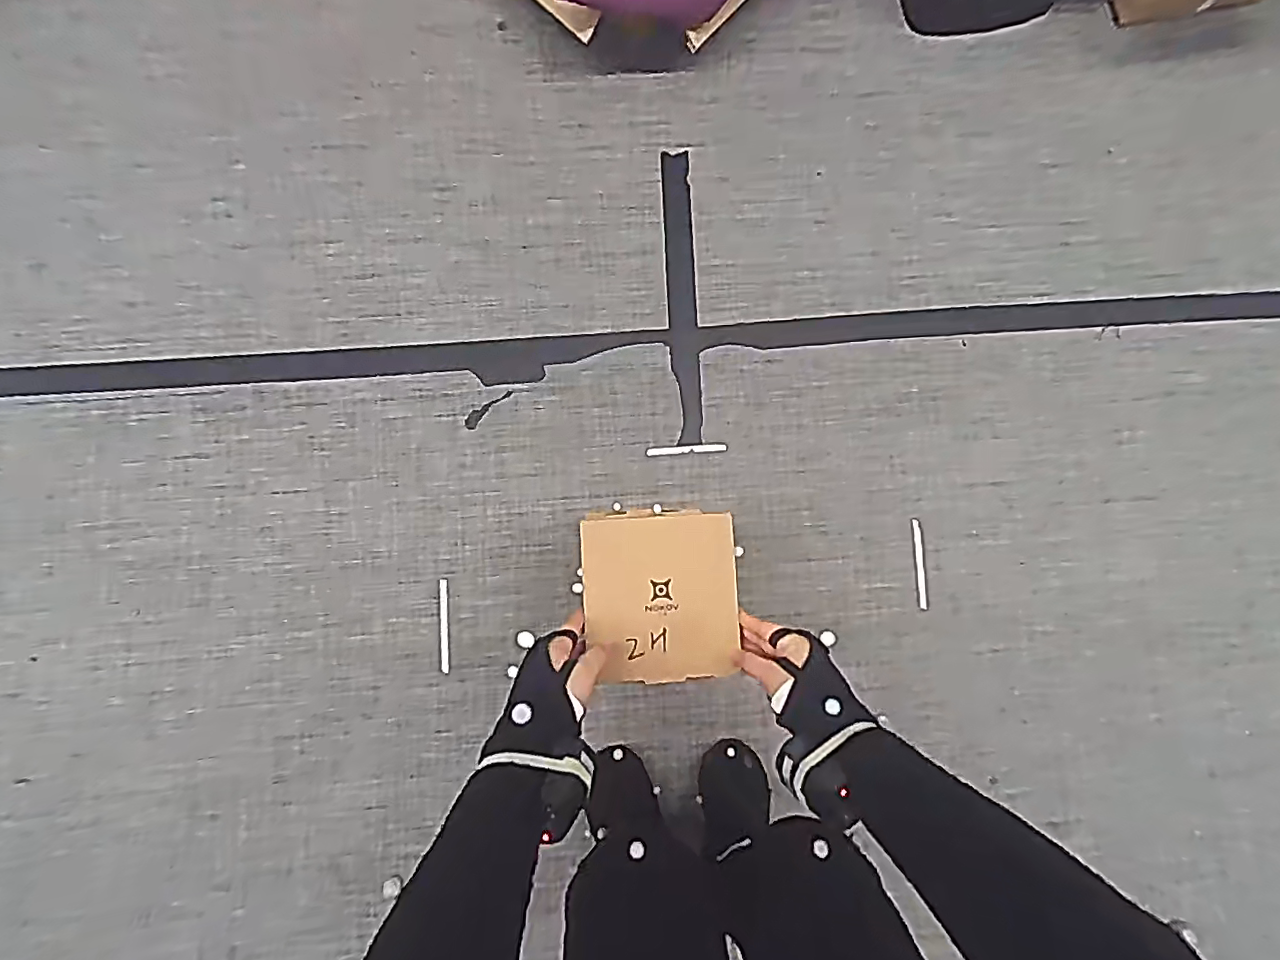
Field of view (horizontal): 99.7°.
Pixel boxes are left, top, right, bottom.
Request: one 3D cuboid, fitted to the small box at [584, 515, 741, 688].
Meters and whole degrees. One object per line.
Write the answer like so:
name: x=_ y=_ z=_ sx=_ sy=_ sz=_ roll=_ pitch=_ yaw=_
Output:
small box: x=0.020 y=0.135 z=0.652 sx=0.168 sy=0.176 sz=0.179 roll=-3 pitch=86 yaw=-1
